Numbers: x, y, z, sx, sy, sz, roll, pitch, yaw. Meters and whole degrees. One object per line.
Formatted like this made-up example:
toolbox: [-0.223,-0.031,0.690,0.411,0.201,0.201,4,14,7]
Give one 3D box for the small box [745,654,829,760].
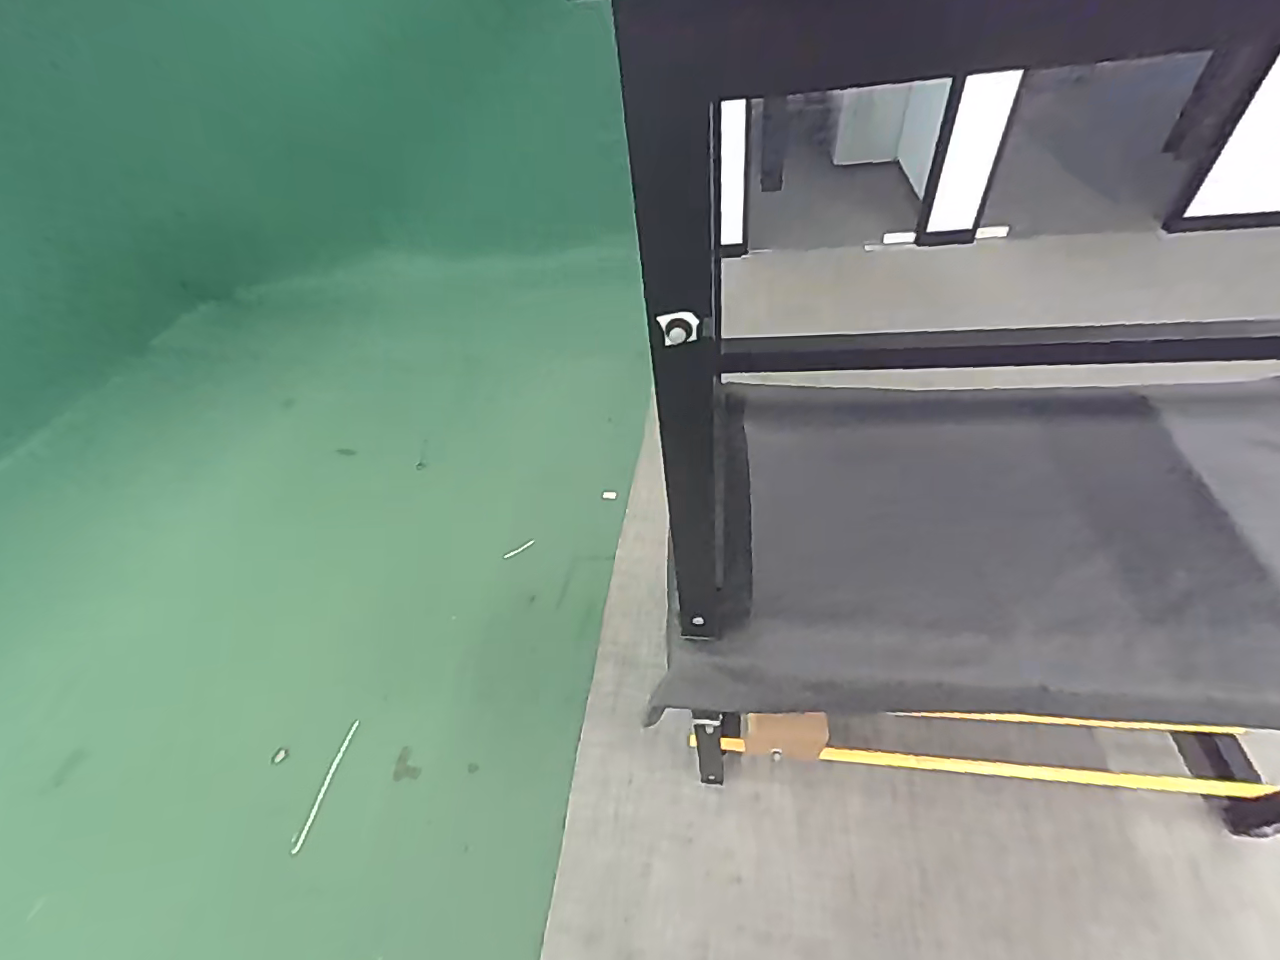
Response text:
small box: [0.329,0.522,1.243,0.168,0.176,0.179,0,49,8]
